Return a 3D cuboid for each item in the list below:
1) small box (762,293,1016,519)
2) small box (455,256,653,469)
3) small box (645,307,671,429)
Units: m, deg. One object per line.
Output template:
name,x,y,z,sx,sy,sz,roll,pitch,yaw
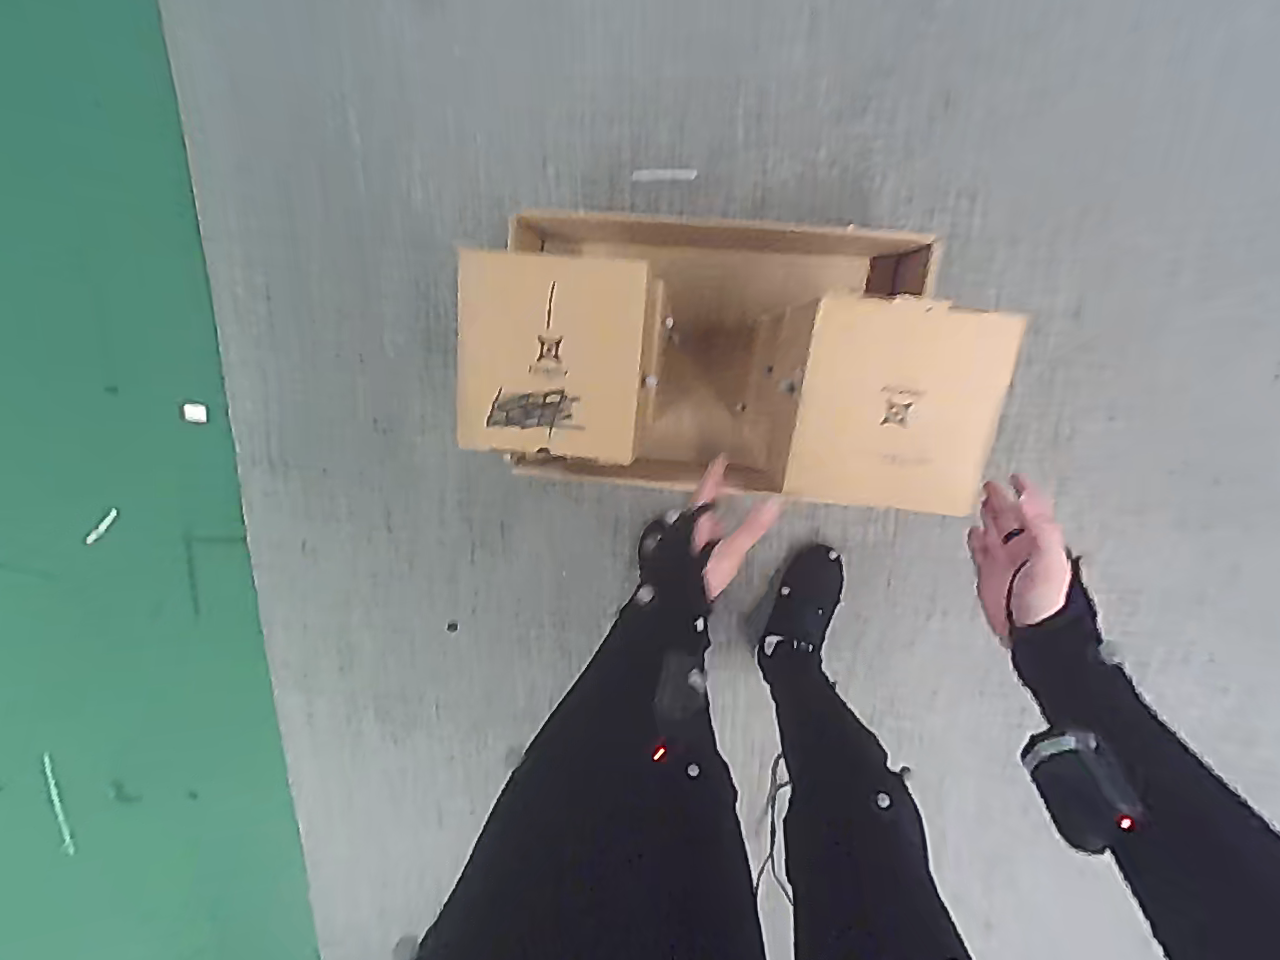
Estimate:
small box,0.223,-0.078,0.538,0.168,0.176,0.179,8,104,5
small box,-0.077,-0.117,0.558,0.168,0.176,0.179,5,101,4
small box,-0.038,-0.184,0.877,0.168,0.176,0.179,6,102,4
